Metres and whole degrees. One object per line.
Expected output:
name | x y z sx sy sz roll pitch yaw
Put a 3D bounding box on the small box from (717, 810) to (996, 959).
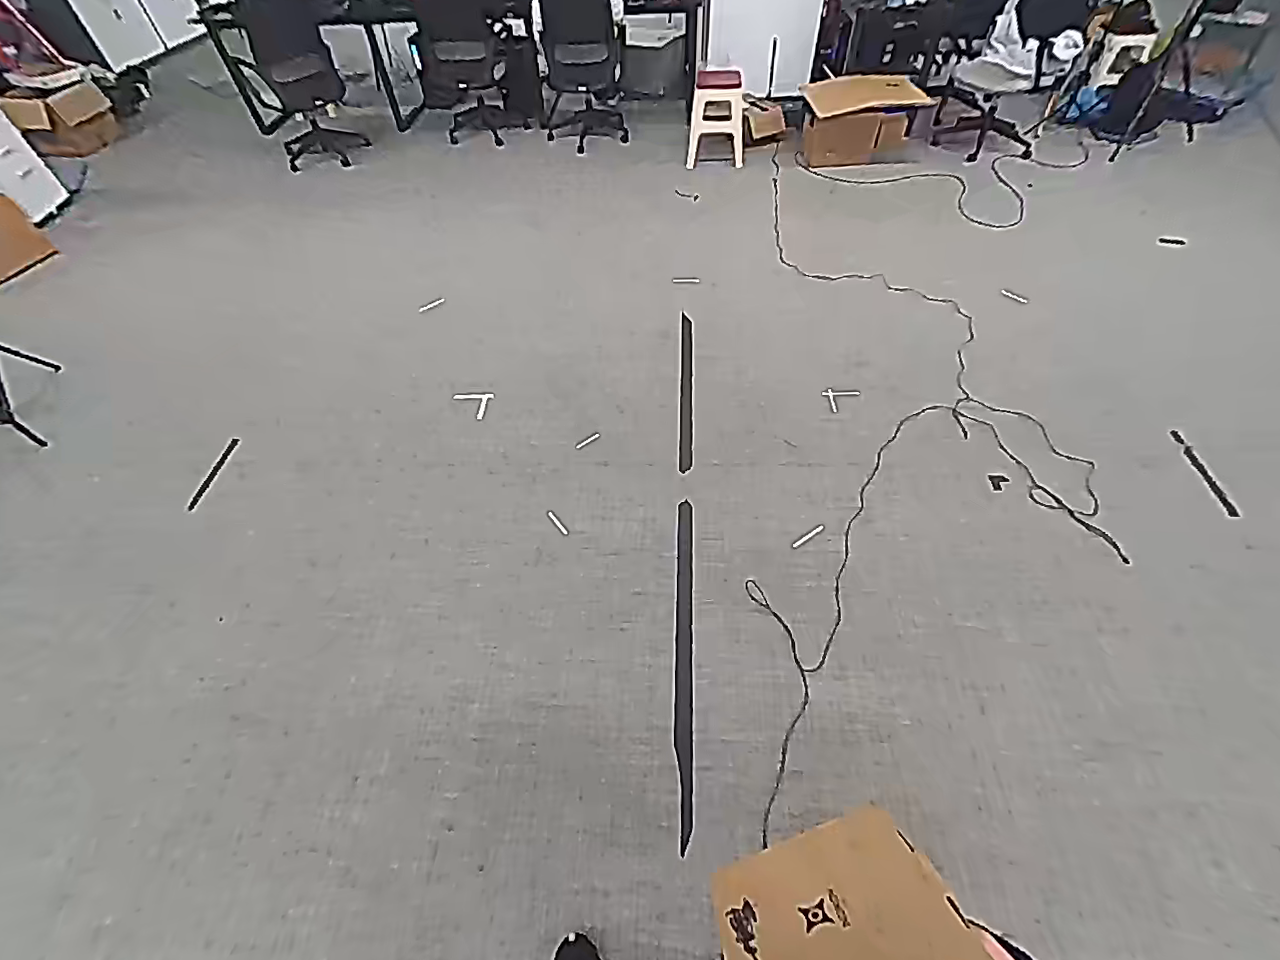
small box | 0.183 0.422 0.436 0.179 0.168 0.176 -22 91 -1
